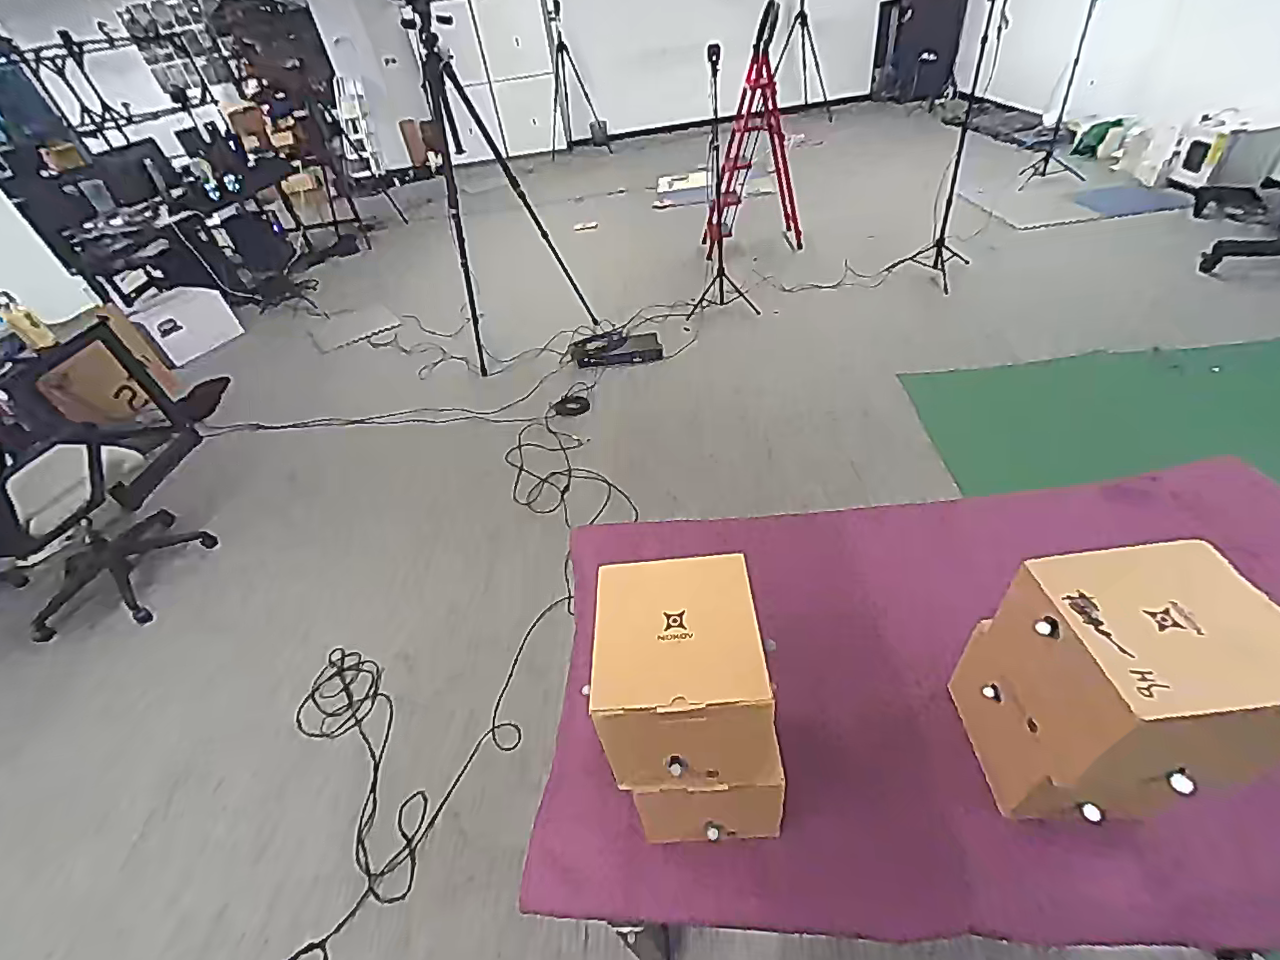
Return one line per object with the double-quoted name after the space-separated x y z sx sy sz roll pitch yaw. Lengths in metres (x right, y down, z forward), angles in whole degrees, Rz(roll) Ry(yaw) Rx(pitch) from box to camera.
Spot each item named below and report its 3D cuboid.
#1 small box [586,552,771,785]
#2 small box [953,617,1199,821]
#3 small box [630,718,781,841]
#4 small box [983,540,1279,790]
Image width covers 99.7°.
0.042 0.202 0.586 0.168 0.176 0.179 -6 40 4 "small box"
0.509 0.284 0.651 0.168 0.176 0.179 -5 41 7 "small box"
0.077 0.327 0.684 0.168 0.176 0.179 -6 40 5 "small box"
0.479 0.181 0.524 0.179 0.176 0.168 -7 41 4 "small box"
